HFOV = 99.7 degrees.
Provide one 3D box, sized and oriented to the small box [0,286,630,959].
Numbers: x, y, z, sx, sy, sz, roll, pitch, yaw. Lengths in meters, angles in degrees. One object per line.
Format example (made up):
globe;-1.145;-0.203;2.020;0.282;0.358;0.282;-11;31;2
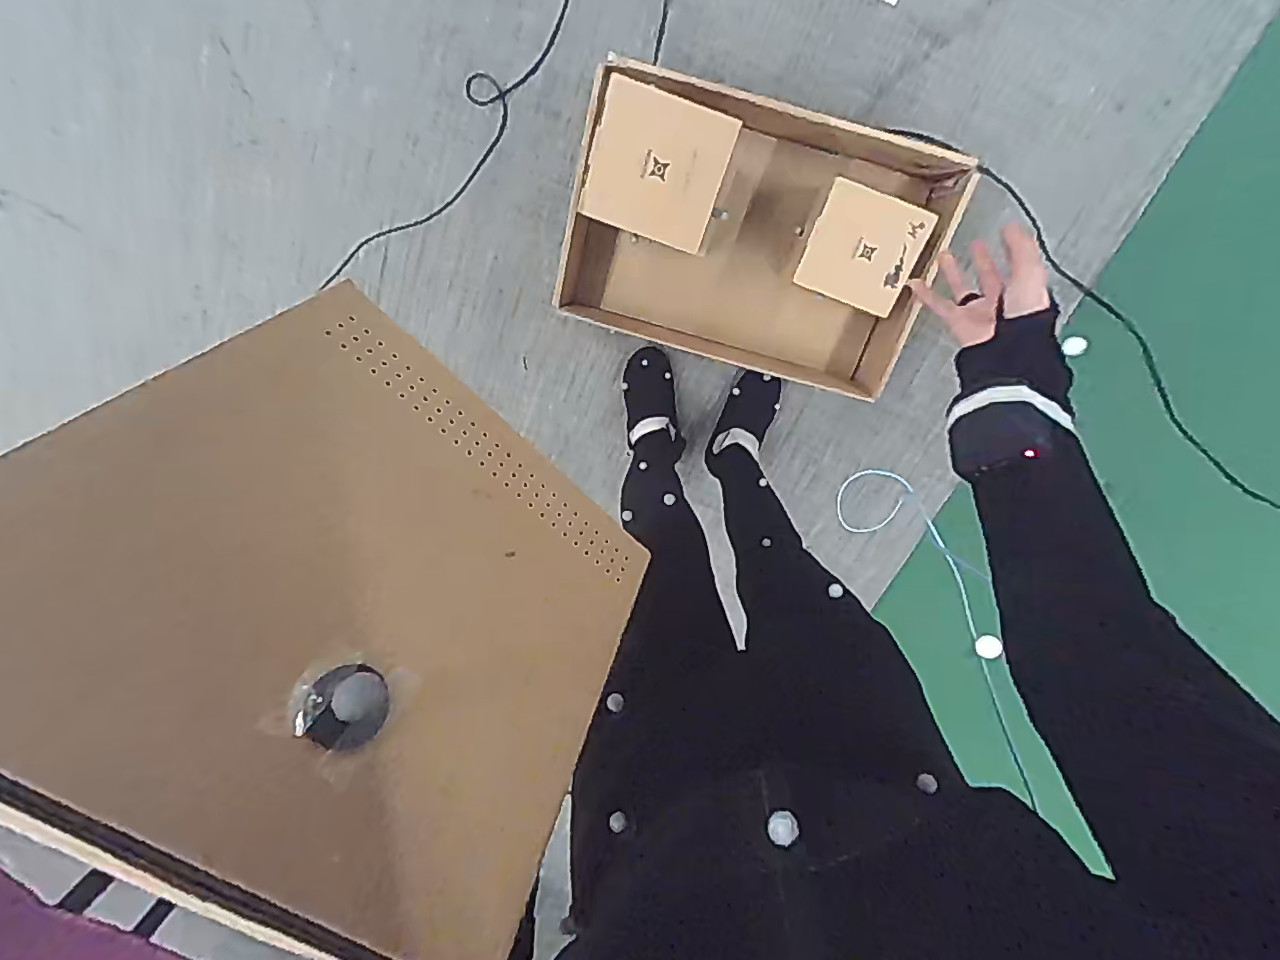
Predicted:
small box;-0.130;0.057;0.219;0.168;0.176;0.179;-33;111;36

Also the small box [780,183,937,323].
small box;0.363;-0.387;0.941;0.179;0.176;0.168;21;112;-3

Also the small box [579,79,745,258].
small box;0.031;-0.432;0.779;0.179;0.176;0.168;20;113;-4
